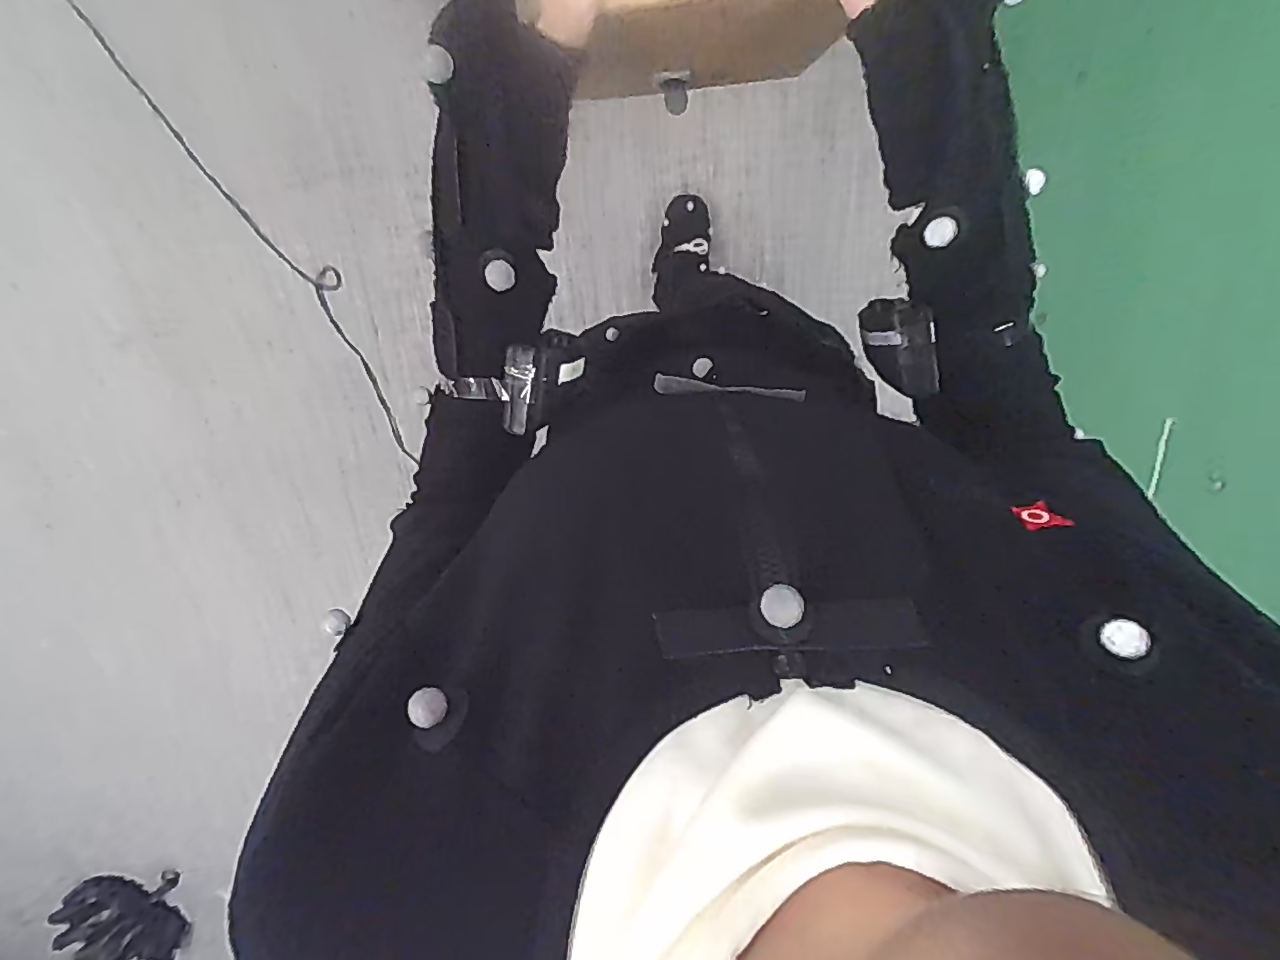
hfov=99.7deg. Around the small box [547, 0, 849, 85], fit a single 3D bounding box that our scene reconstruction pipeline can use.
[{"bbox_3d":[0.023,-0.334,0.273,0.168,0.176,0.179,-6,114,1],"label":"small box"}]
